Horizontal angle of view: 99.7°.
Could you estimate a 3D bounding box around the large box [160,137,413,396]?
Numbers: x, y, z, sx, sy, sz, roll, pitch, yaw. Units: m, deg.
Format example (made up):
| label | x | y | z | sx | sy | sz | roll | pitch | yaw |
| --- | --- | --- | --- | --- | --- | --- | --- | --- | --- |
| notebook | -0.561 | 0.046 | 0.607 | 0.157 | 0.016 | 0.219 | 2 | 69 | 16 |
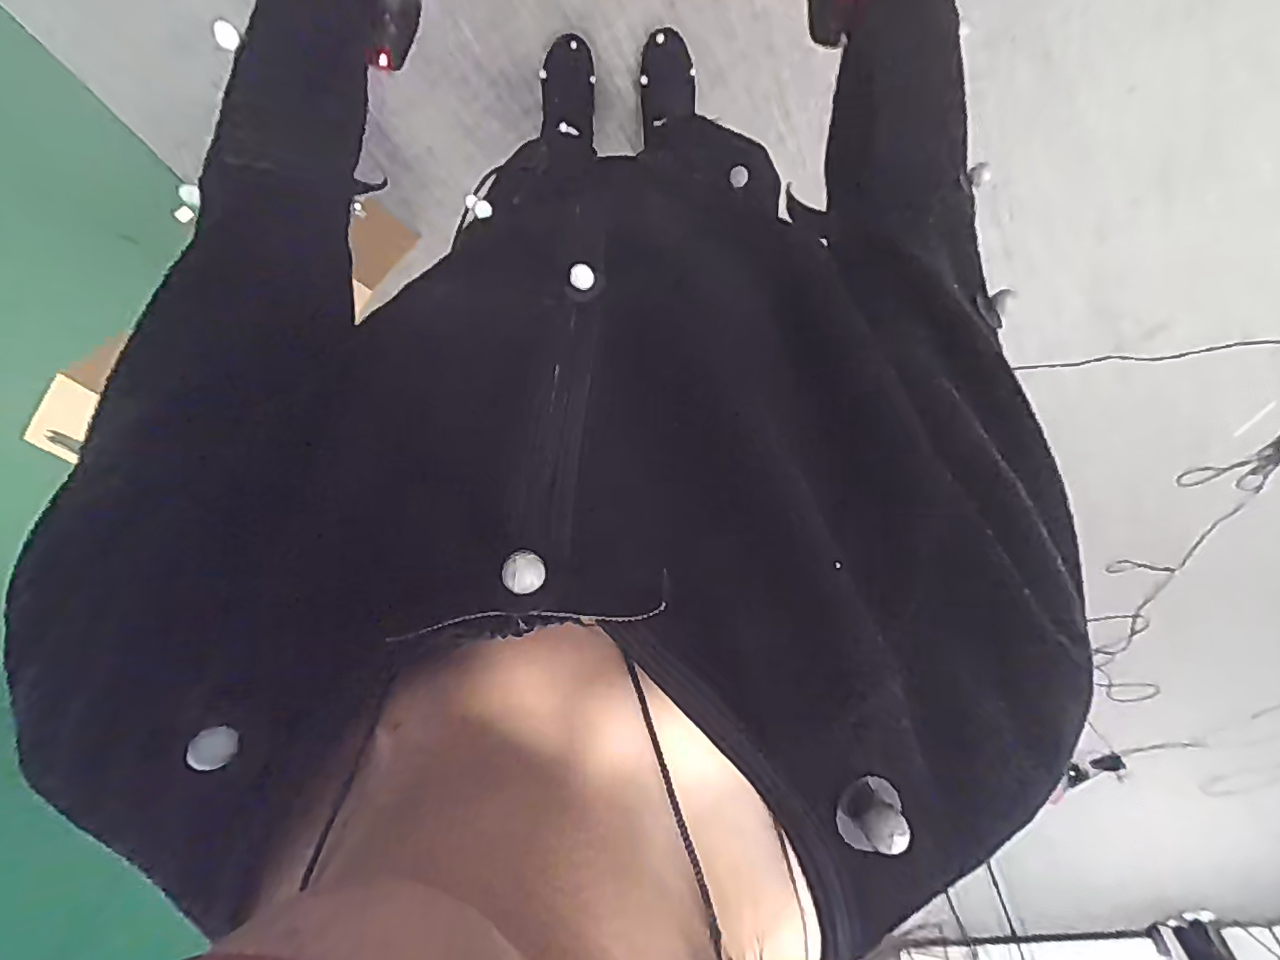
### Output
| label | x | y | z | sx | sy | sz | roll | pitch | yaw |
| --- | --- | --- | --- | --- | --- | --- | --- | --- | --- |
| large box | -0.803 | -0.486 | 1.260 | 0.408 | 0.320 | 0.320 | -35 | 122 | 30 |
